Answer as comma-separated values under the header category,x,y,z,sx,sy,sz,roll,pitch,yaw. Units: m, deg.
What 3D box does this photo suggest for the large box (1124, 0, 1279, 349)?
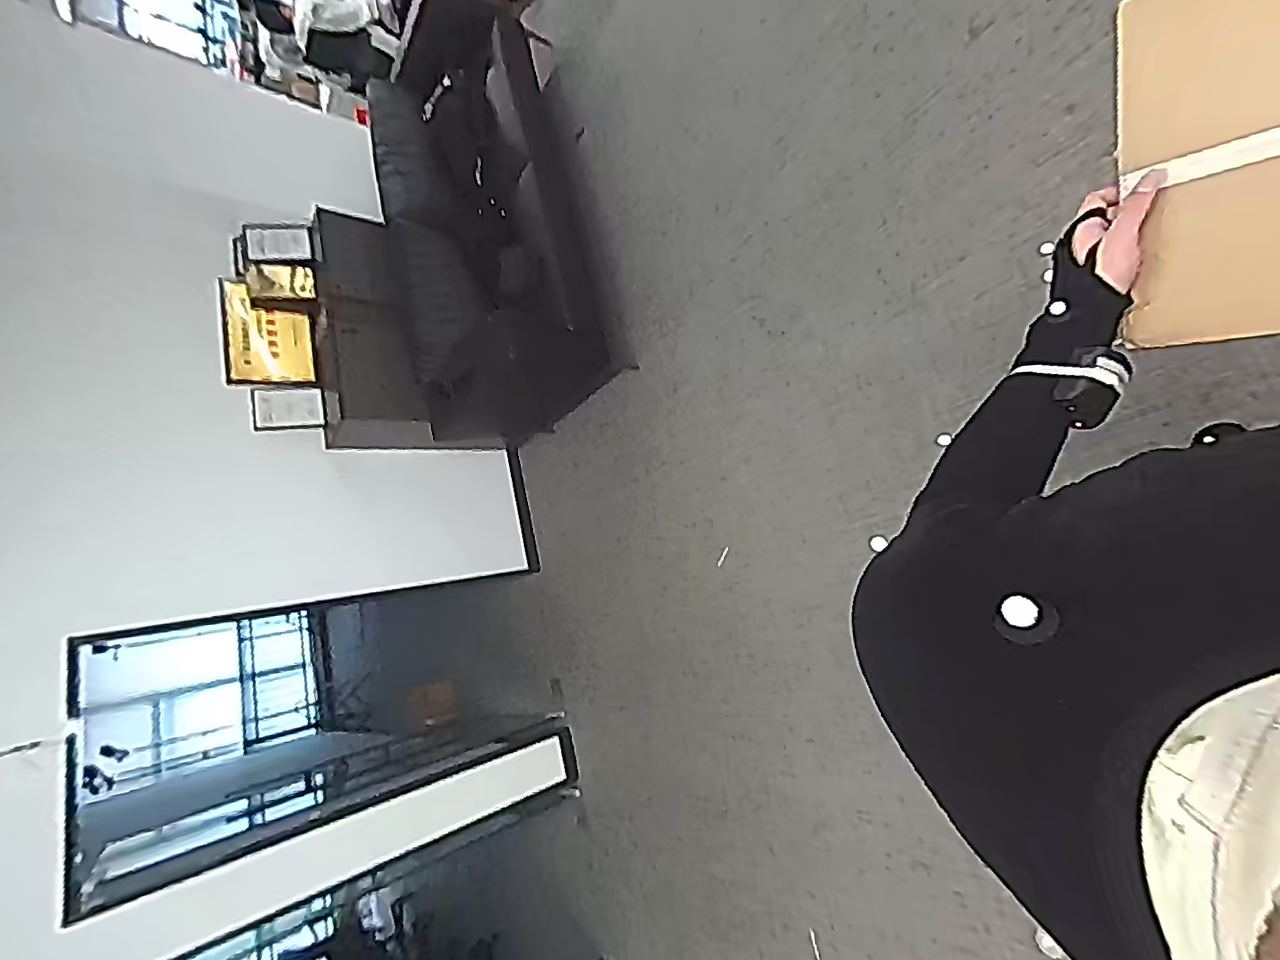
category,x,y,z,sx,sy,sz,roll,pitch,yaw
large box,0.712,-0.312,0.465,0.408,0.320,0.320,3,106,50
